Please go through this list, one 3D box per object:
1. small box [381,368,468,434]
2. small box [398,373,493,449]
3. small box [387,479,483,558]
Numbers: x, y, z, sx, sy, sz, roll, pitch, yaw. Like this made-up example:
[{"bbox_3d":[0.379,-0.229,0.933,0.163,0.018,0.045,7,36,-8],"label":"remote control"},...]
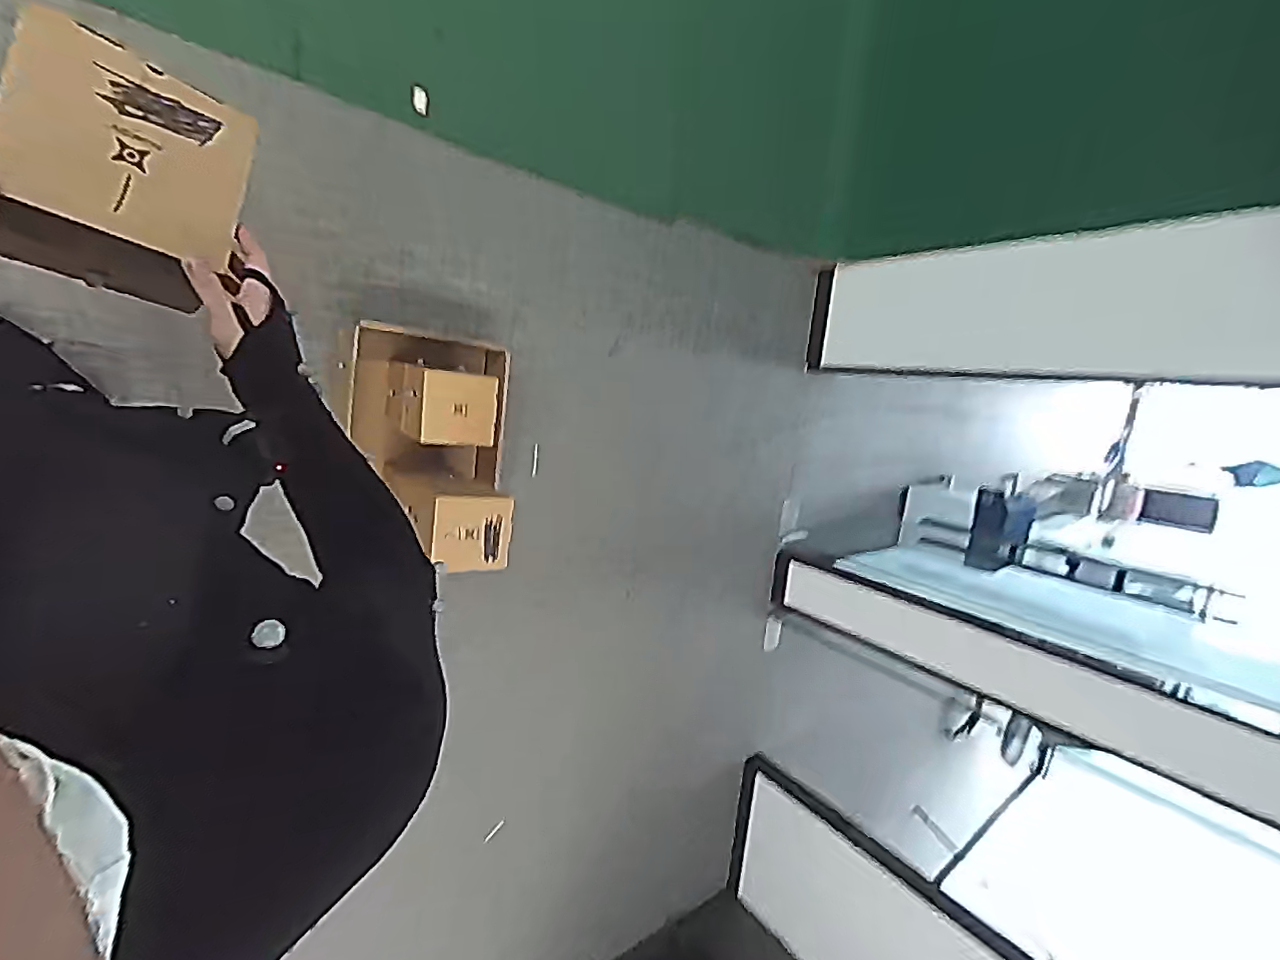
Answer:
[{"bbox_3d":[-0.578,-0.205,1.441,0.179,0.176,0.168,1,101,-39],"label":"small box"},{"bbox_3d":[-0.479,-0.170,1.318,0.179,0.176,0.168,-1,101,-39],"label":"small box"},{"bbox_3d":[-0.515,0.089,1.354,0.179,0.176,0.168,1,98,-40],"label":"small box"}]
